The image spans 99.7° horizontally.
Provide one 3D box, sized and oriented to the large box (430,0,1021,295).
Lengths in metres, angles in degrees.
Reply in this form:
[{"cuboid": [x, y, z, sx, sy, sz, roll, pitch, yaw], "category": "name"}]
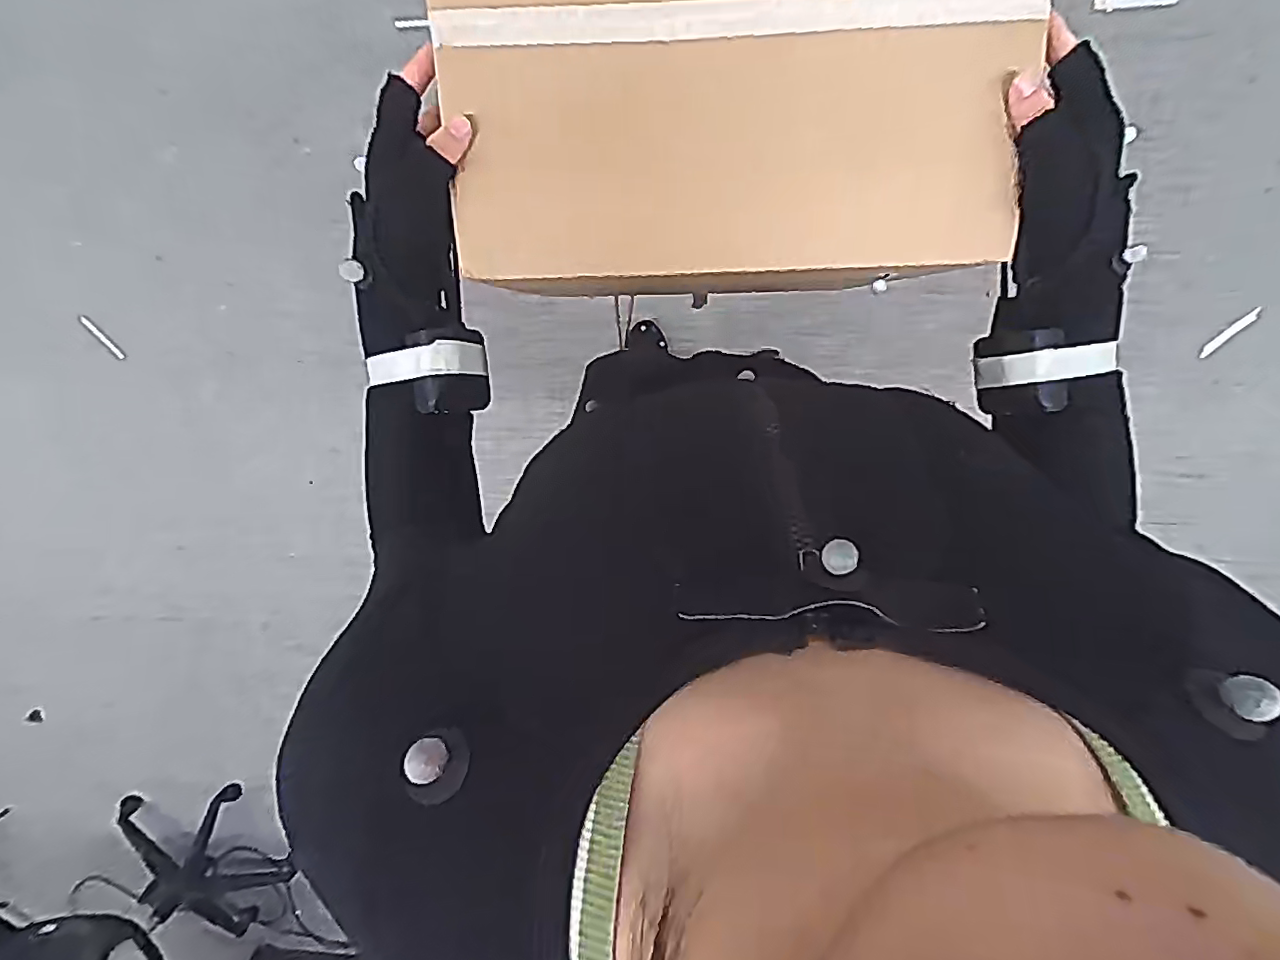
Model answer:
[{"cuboid": [0.059, -0.348, 0.509, 0.408, 0.320, 0.320, -2, 106, 0], "category": "large box"}]
